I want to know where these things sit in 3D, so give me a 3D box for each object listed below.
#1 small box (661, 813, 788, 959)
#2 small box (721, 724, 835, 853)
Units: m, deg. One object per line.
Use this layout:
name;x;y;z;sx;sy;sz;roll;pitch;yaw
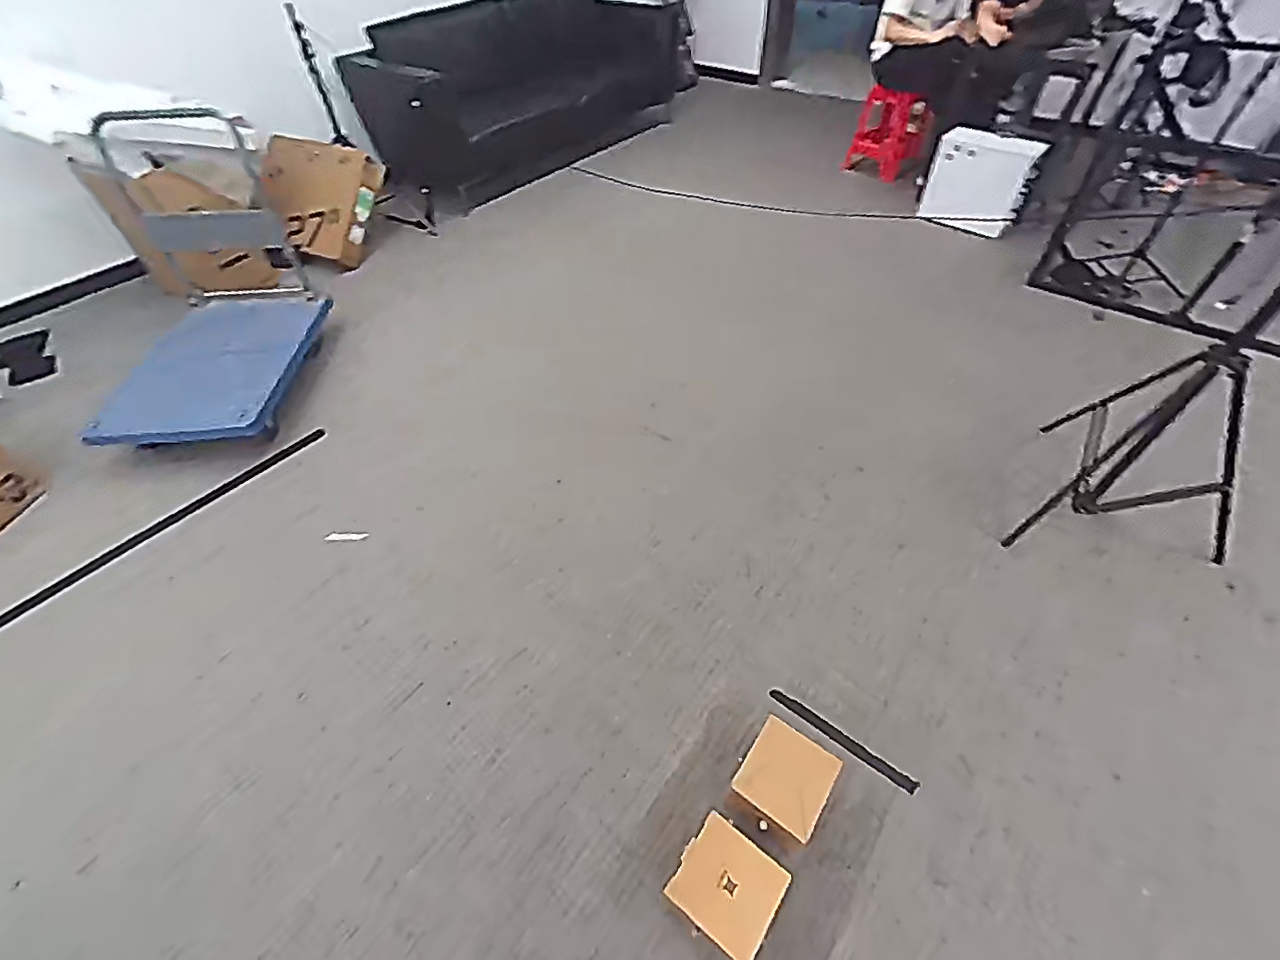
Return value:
small box;0.157;0.788;1.043;0.179;0.176;0.168;30;56;25
small box;0.294;0.650;1.154;0.168;0.176;0.179;29;55;25
